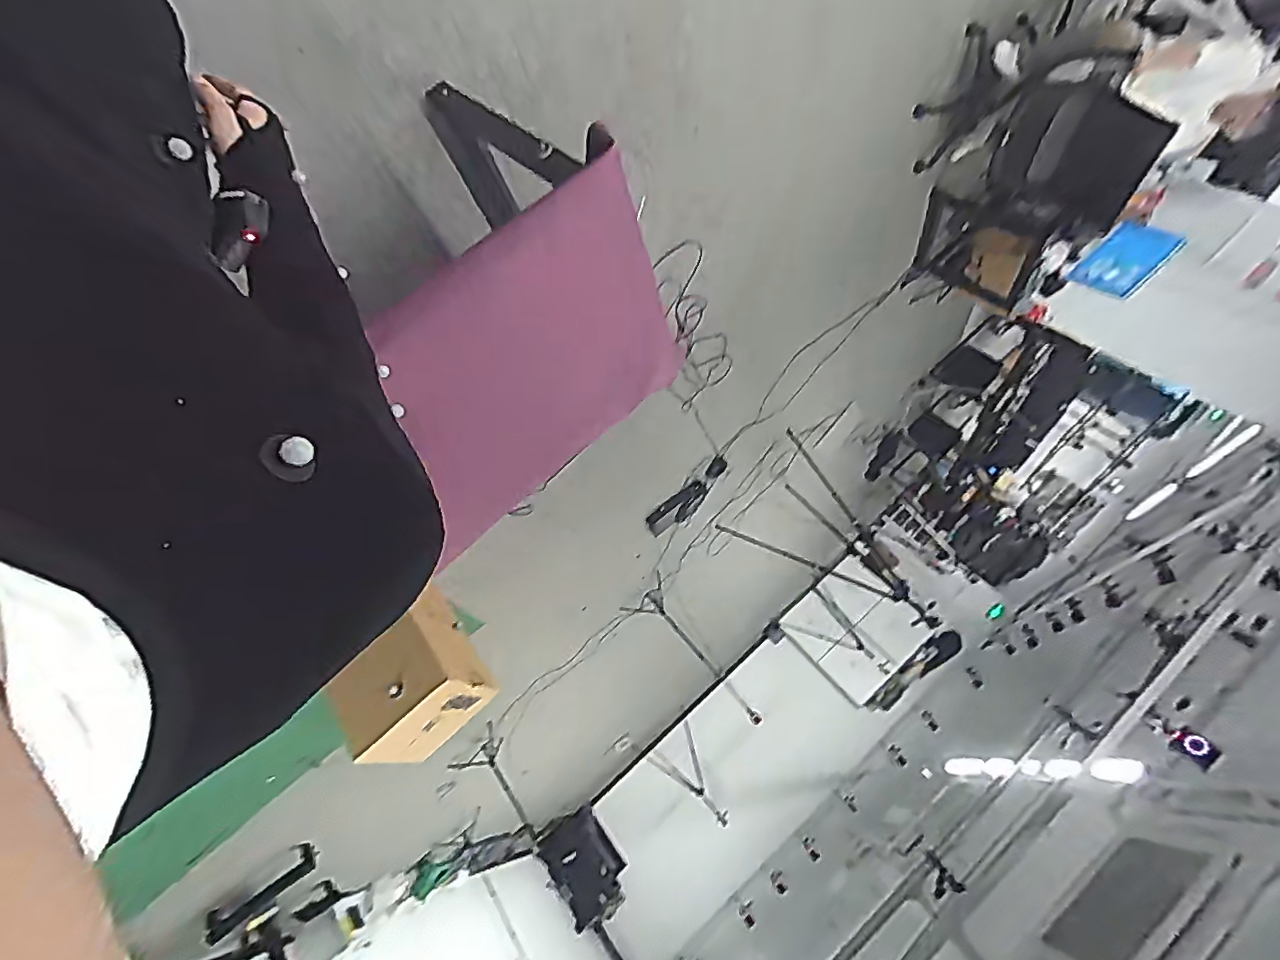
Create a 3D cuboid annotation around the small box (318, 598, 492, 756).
[{"bbox_3d":[-0.387,0.324,0.894,0.179,0.176,0.168,-41,150,-7],"label":"small box"}]
